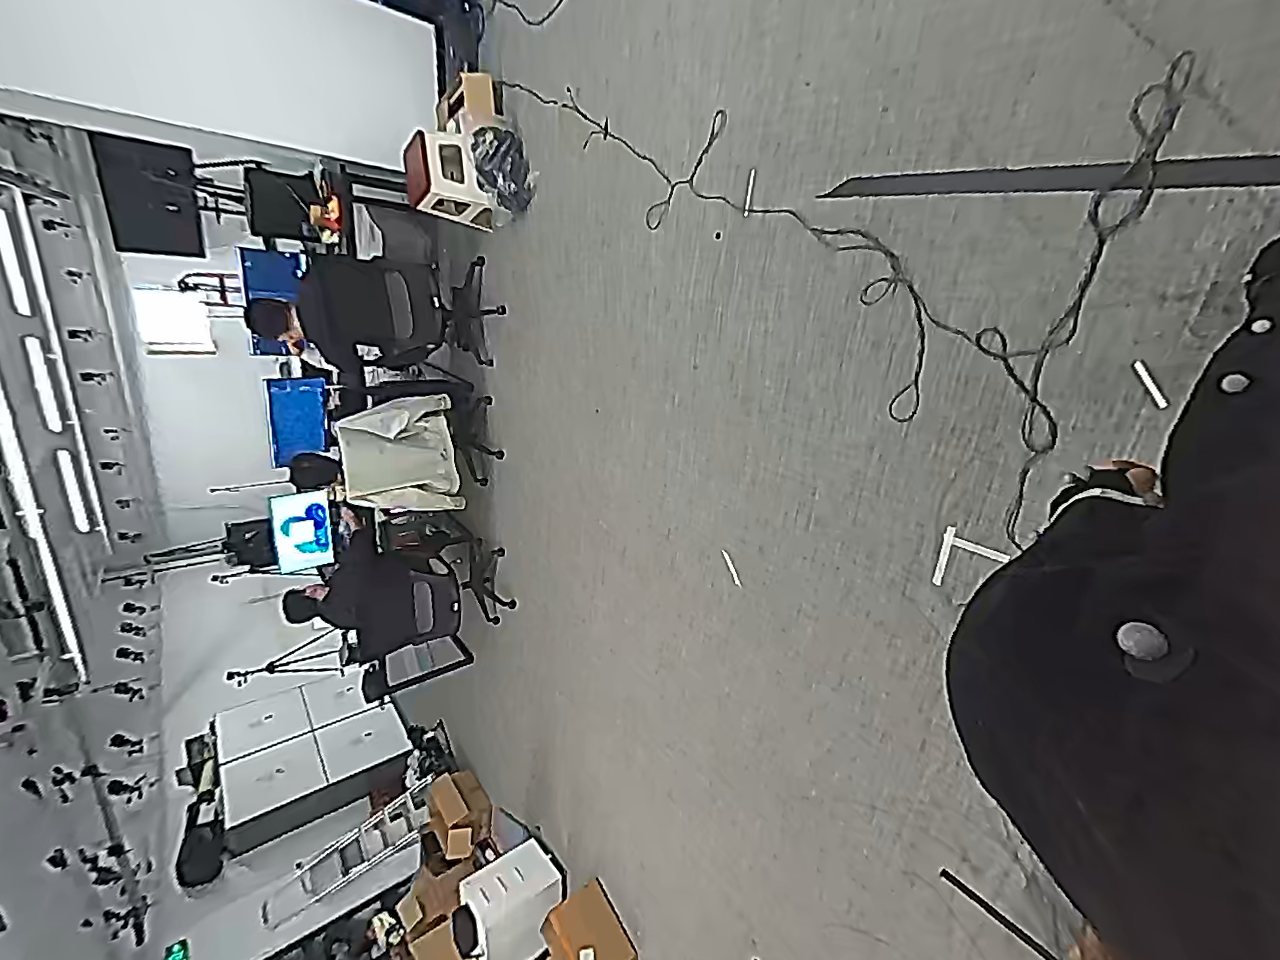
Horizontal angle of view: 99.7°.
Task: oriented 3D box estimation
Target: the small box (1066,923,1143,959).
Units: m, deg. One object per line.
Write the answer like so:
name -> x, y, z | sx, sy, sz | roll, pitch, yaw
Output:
small box -> 1.089, 1.192, 1.248 | 0.168, 0.176, 0.179 | 30, 120, 44
